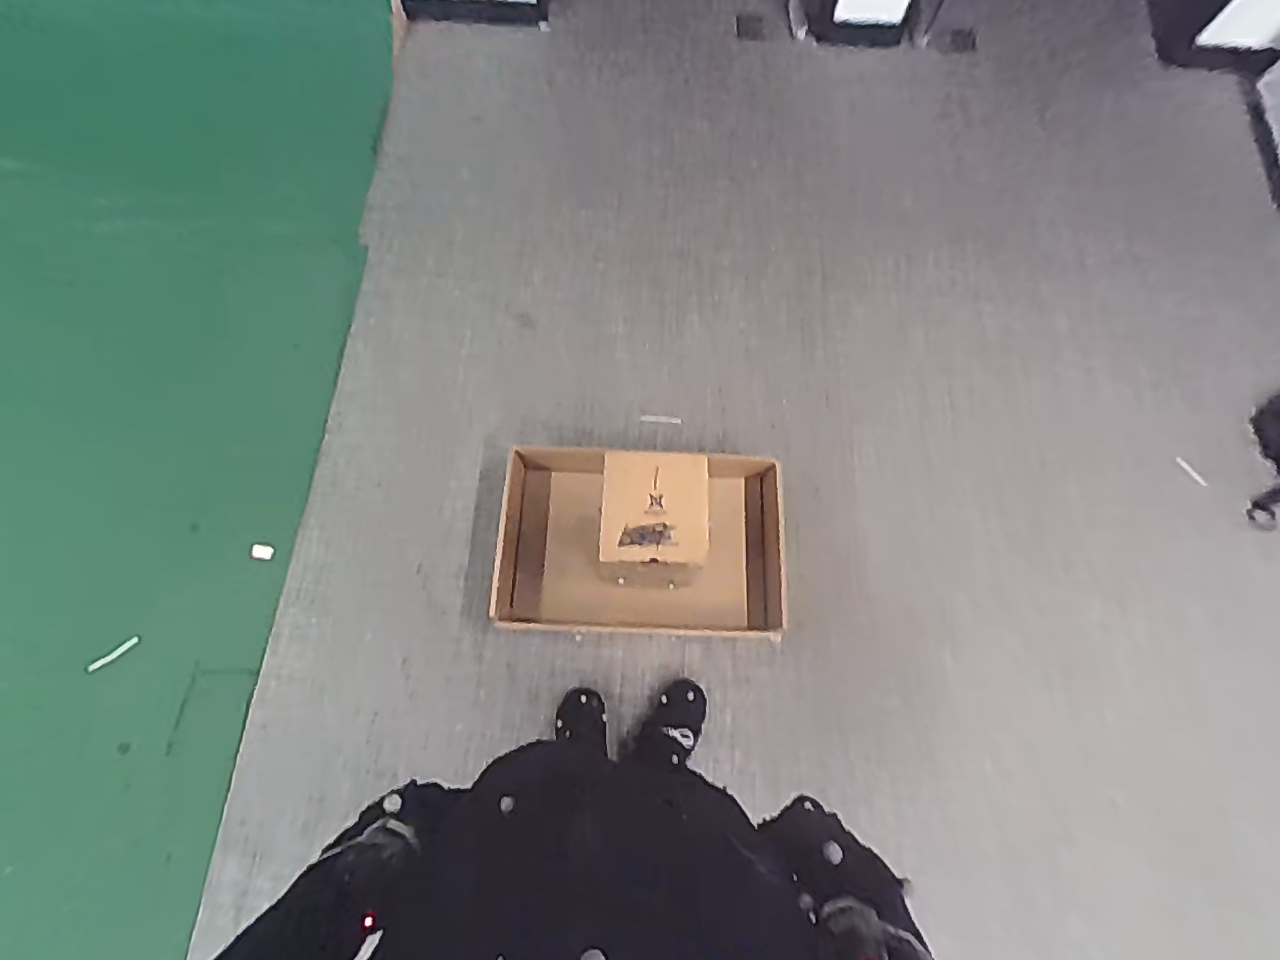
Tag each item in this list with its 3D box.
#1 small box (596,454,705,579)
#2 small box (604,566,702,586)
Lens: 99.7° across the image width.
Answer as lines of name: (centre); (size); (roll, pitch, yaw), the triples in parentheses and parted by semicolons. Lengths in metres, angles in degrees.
small box: (0.018, 0.068, 0.910); (0.168, 0.176, 0.179); (2, 71, -1)
small box: (0.019, 0.114, 1.052); (0.179, 0.176, 0.168); (-1, 72, -2)
